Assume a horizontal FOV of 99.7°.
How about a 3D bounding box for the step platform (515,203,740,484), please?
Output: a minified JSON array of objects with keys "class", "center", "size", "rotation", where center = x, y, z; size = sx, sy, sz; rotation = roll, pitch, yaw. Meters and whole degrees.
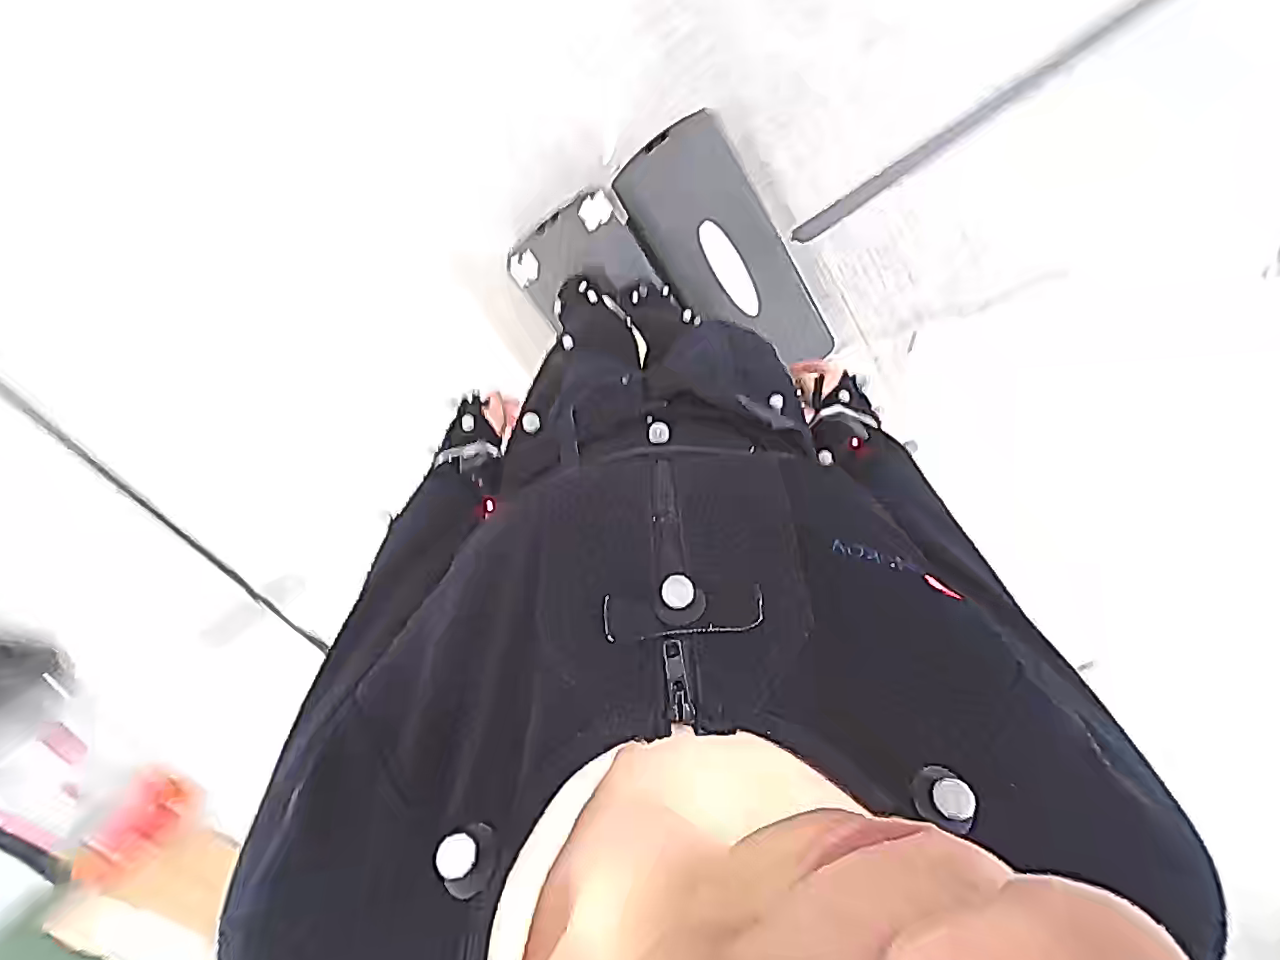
[{"class":"step platform","center":[-0.015,-0.325,1.381],"size":[0.286,0.204,0.684],"rotation":[-30,109,12]}]
